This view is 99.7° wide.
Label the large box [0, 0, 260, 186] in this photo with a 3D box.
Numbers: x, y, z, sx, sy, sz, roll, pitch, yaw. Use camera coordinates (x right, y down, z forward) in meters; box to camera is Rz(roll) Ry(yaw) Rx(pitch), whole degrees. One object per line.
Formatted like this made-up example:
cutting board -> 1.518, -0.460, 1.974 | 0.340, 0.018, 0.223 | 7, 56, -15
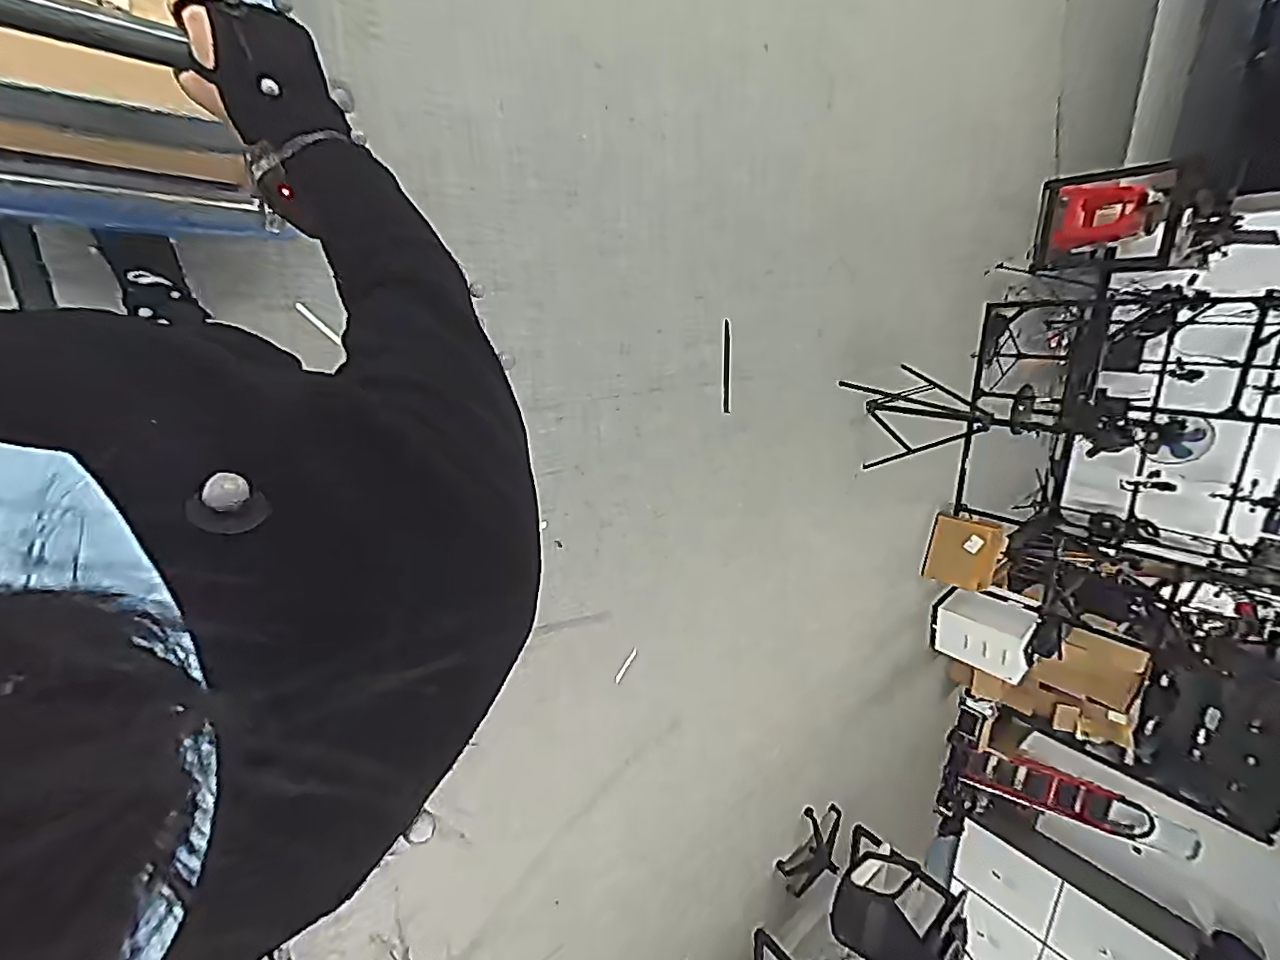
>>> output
large box -> -0.779, -0.612, 0.704 | 0.408, 0.320, 0.320 | -11, 110, -39
